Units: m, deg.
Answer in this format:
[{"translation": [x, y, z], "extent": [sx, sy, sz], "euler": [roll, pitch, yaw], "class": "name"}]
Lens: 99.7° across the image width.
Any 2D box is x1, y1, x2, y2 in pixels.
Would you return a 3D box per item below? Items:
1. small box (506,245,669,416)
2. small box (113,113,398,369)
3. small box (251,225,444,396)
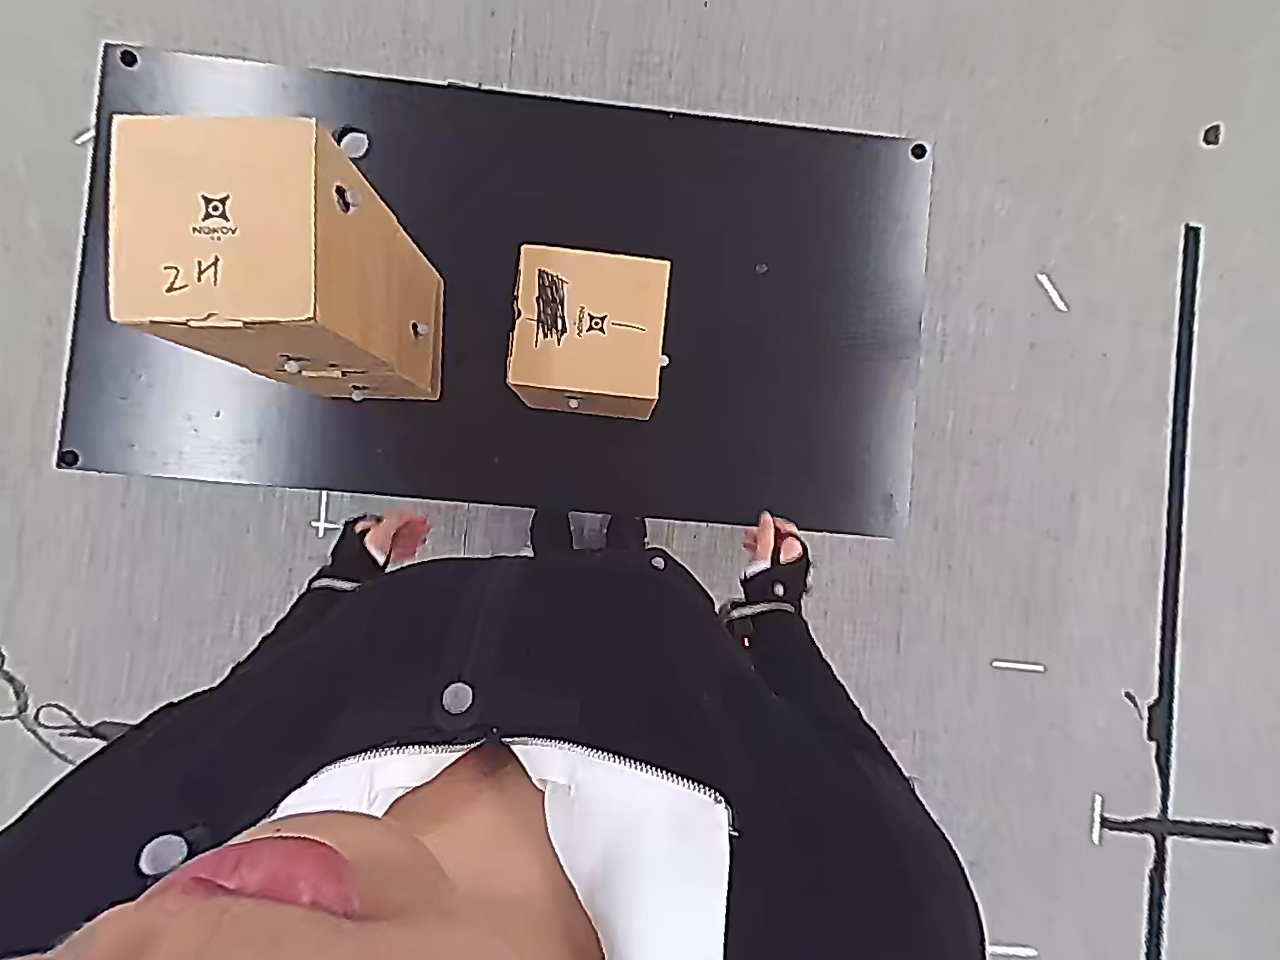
[{"translation": [-0.064, -0.182, 0.709], "extent": [0.179, 0.176, 0.168], "euler": [6, 88, -3], "class": "small box"}, {"translation": [-0.354, -0.217, 0.532], "extent": [0.168, 0.176, 0.179], "euler": [0, 88, -2], "class": "small box"}, {"translation": [-0.362, -0.207, 0.697], "extent": [0.168, 0.176, 0.179], "euler": [1, 88, -2], "class": "small box"}]
